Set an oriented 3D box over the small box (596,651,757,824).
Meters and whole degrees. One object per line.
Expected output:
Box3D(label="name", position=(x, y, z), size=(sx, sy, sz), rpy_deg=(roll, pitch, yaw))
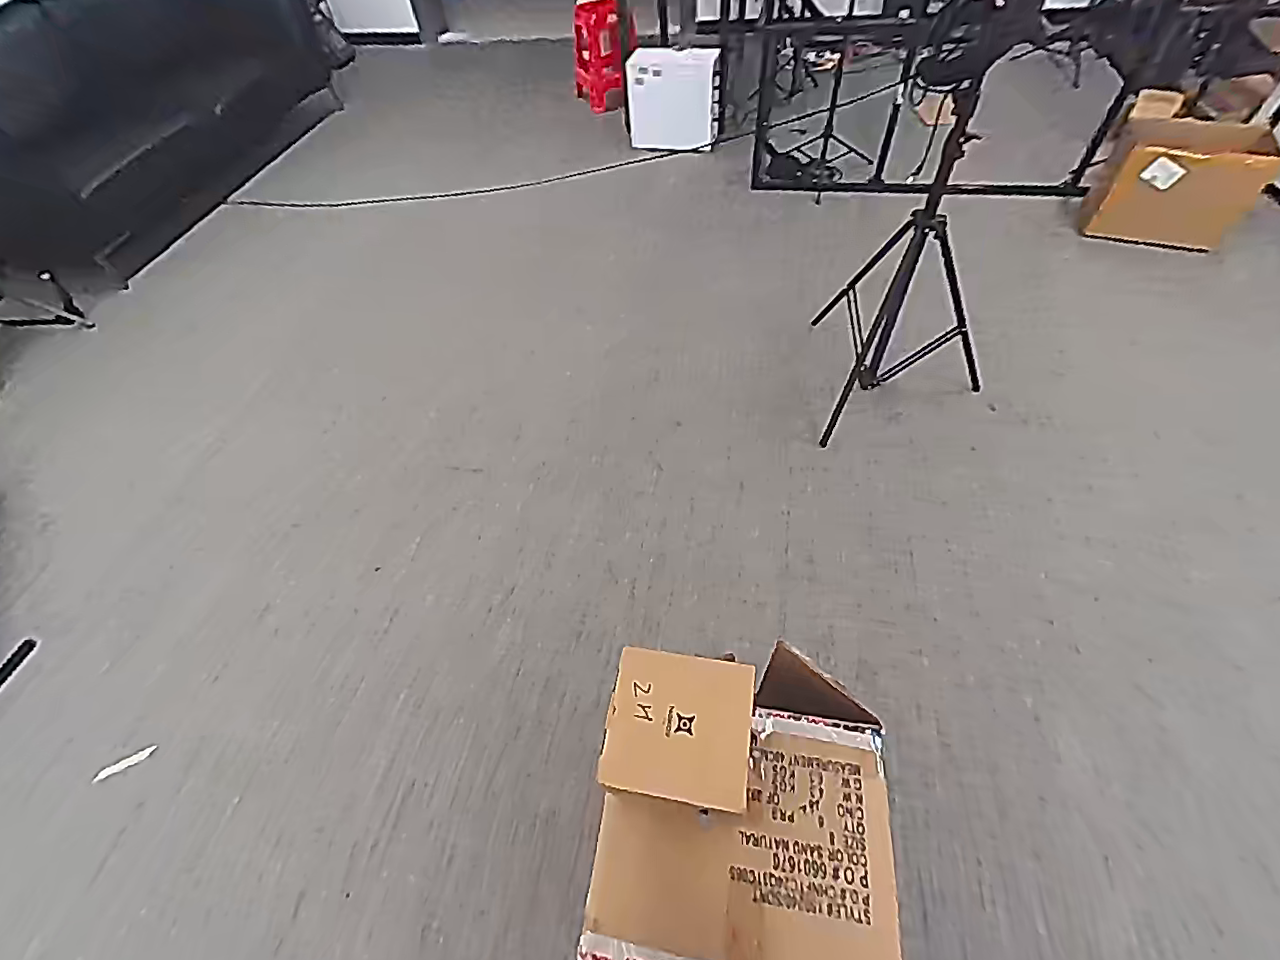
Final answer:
Box3D(label="small box", position=(0.058, 0.347, 0.722), size=(0.179, 0.176, 0.168), rpy_deg=(5, 55, 12))
